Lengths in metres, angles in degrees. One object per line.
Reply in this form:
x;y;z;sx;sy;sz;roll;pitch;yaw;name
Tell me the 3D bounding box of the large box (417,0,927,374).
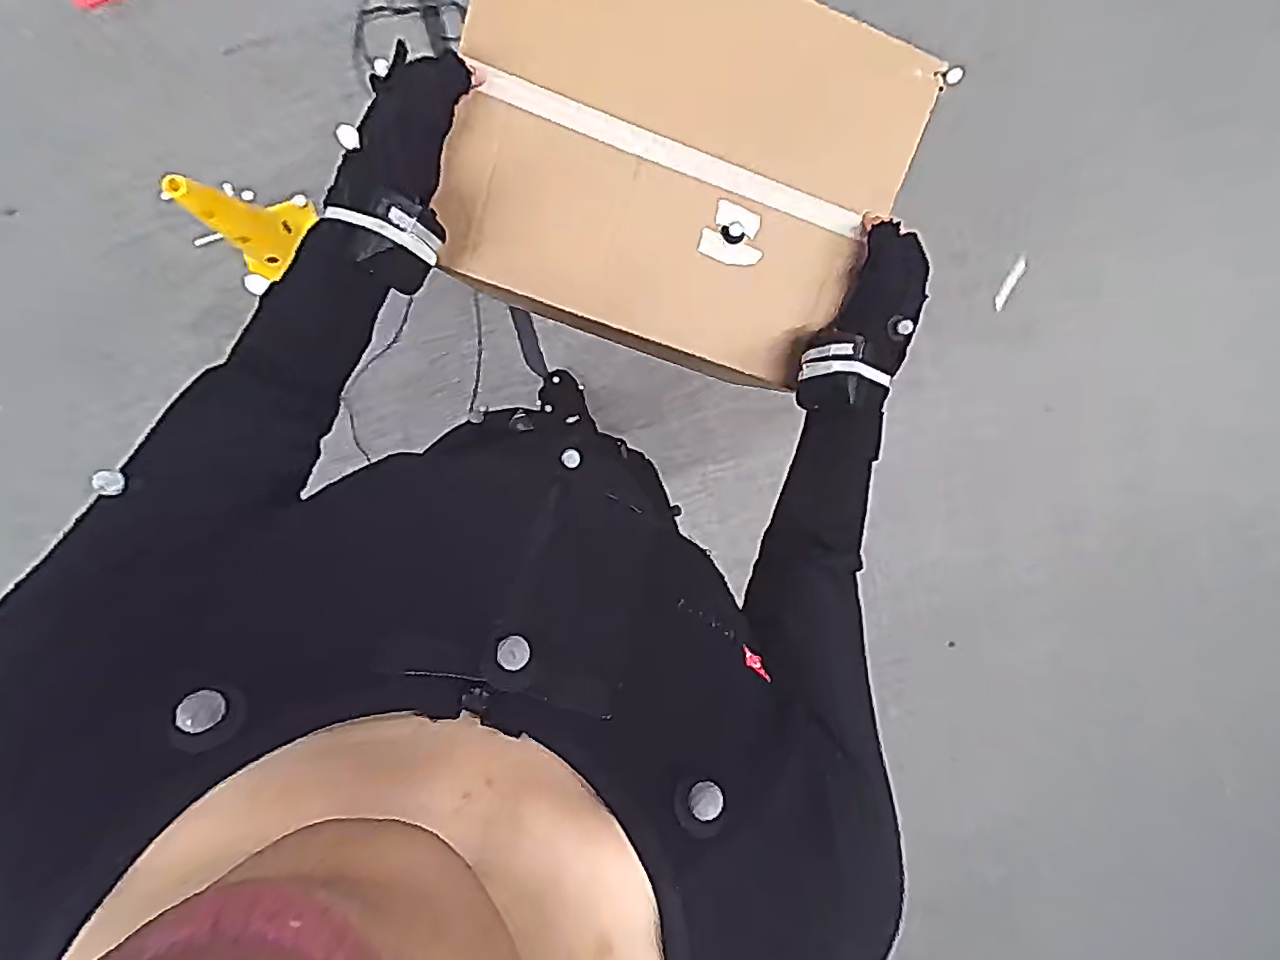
0.015;-0.329;0.630;0.408;0.320;0.320;16;101;-8;large box
